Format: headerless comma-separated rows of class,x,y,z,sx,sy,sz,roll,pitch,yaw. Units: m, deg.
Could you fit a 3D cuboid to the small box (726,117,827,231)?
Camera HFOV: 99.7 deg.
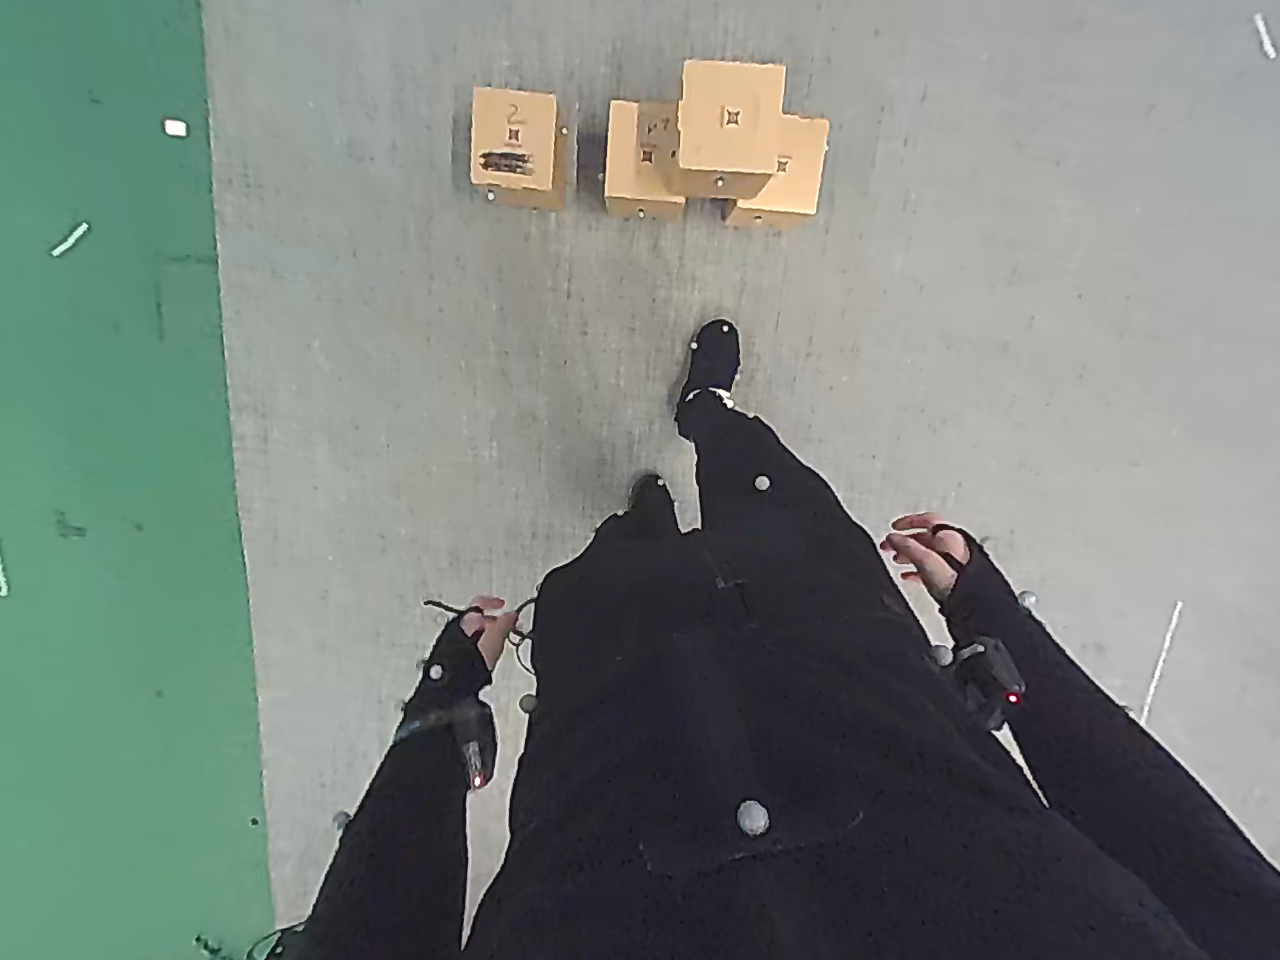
small box,0.283,-0.649,1.163,0.168,0.176,0.179,5,102,-1

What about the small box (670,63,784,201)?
small box,0.150,-0.630,0.999,0.179,0.176,0.168,2,103,-2
